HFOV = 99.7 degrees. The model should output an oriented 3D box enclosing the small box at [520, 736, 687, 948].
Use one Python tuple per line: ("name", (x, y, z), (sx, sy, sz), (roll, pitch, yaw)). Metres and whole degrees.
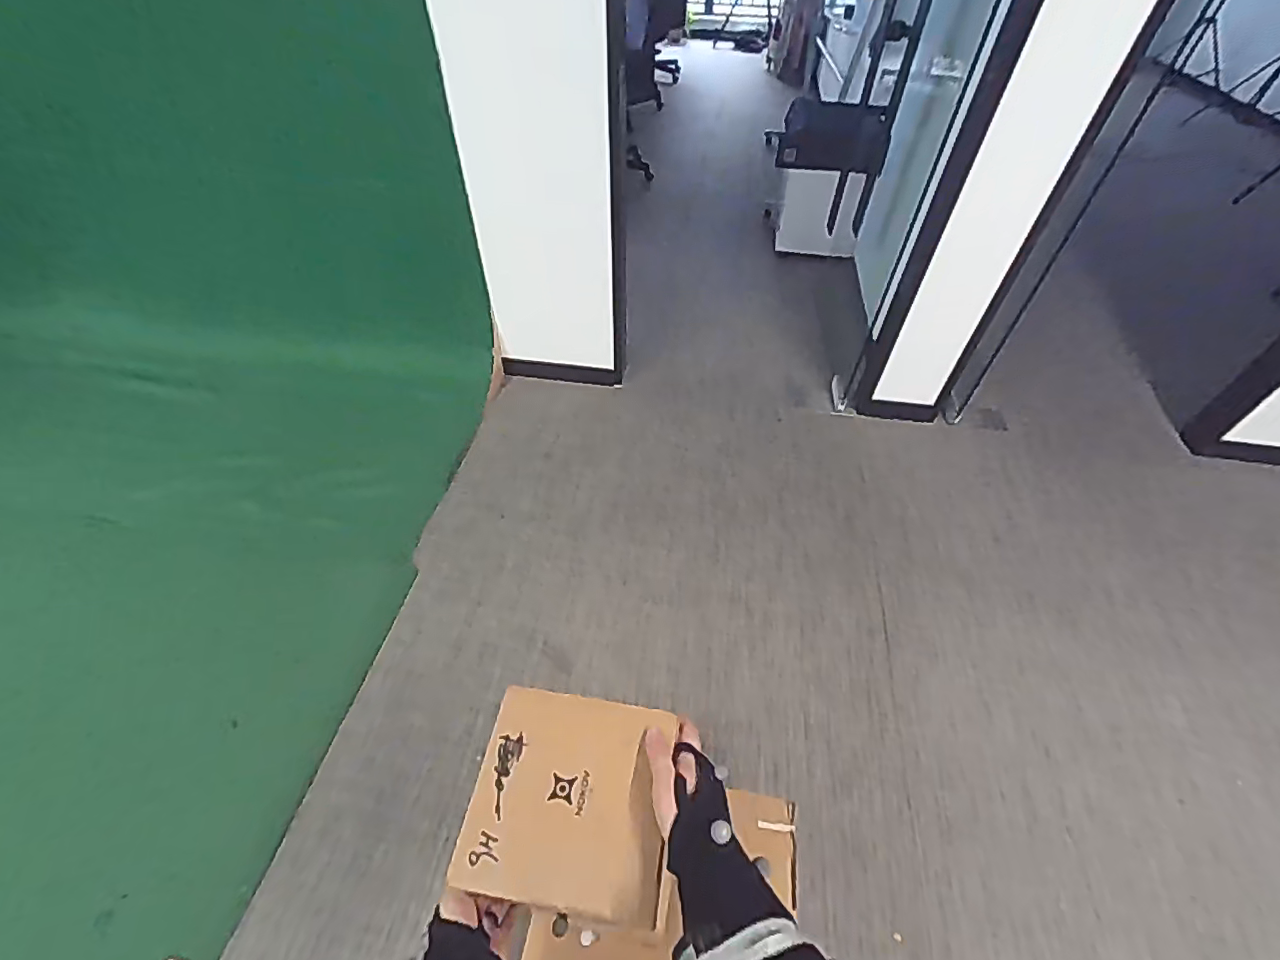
("small box", (-0.039, 0.466, 0.699), (0.168, 0.176, 0.179), (9, 45, 8))
